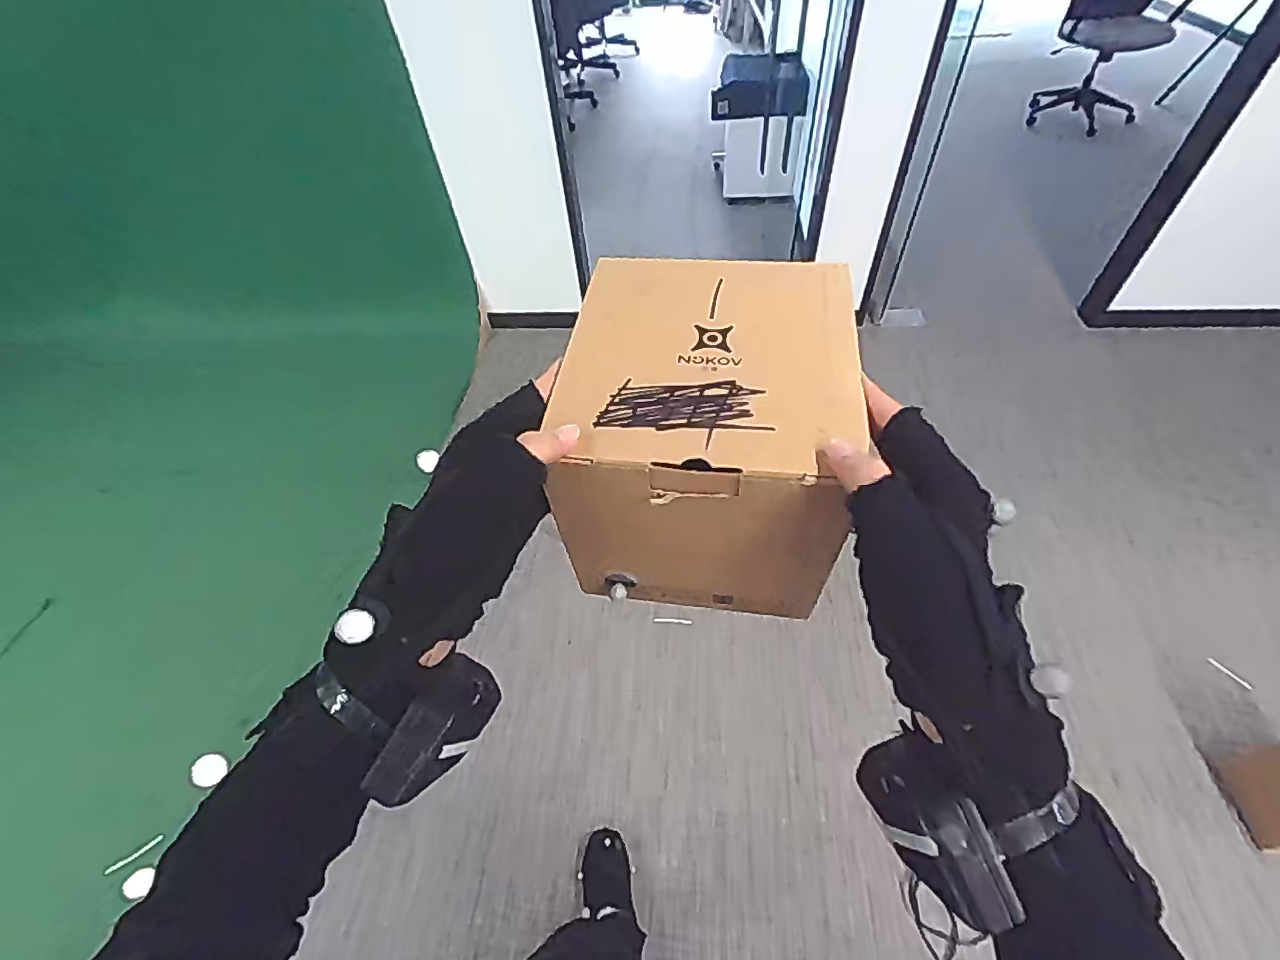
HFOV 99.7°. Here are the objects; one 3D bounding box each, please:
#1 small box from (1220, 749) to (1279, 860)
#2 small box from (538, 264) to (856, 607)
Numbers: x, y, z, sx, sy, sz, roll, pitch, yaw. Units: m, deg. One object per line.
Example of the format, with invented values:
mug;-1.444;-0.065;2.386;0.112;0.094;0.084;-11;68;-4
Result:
small box;1.391;0.681;1.121;0.168;0.176;0.179;2;50;7
small box;0.045;-0.027;0.382;0.168;0.176;0.179;5;54;9
